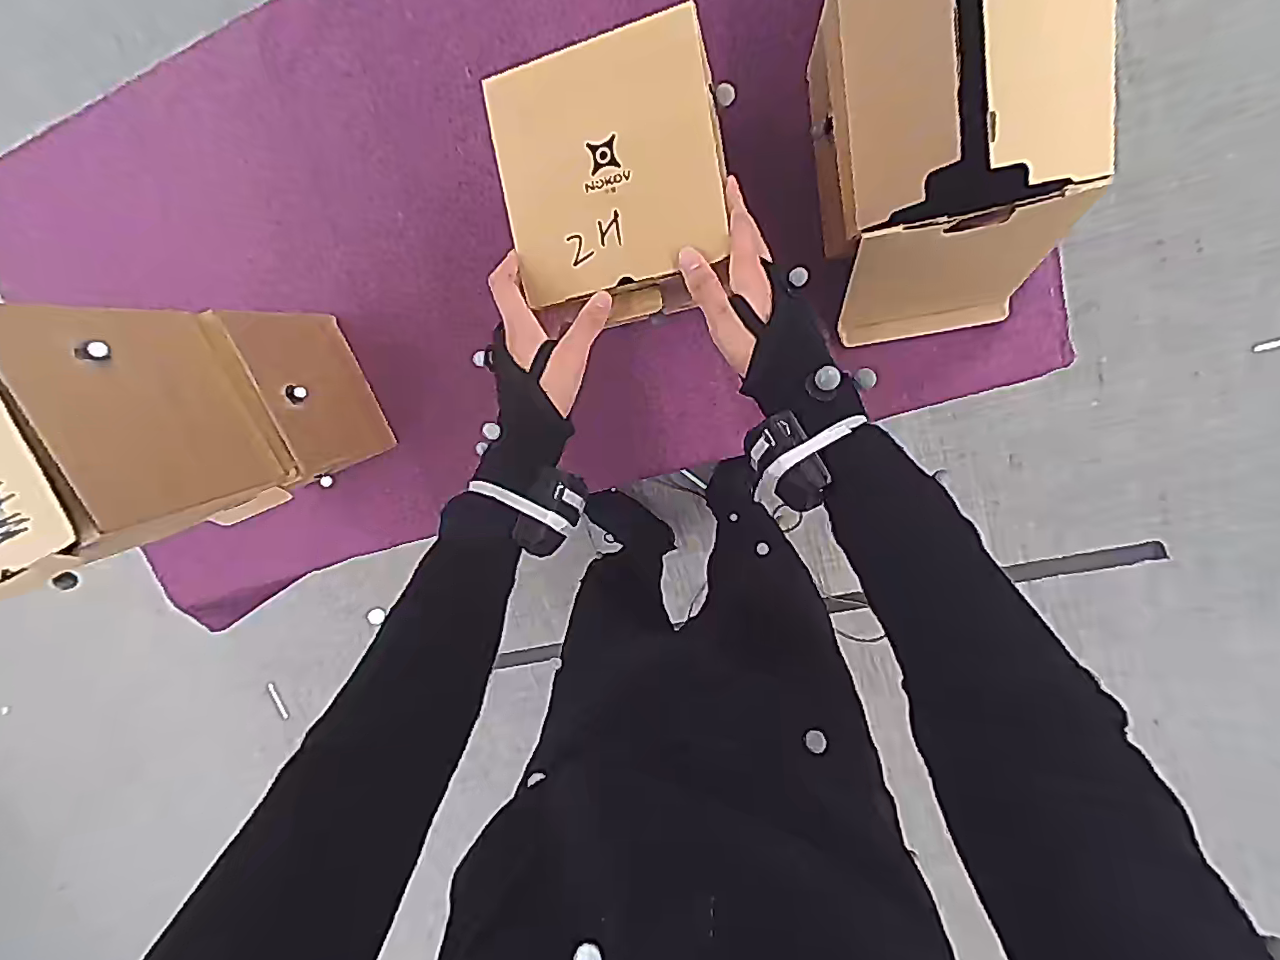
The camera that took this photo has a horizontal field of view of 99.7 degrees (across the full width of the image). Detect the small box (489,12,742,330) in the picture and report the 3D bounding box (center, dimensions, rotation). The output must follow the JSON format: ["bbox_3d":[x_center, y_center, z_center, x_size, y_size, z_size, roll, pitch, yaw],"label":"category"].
[{"bbox_3d":[-0.006,-0.242,0.479,0.168,0.176,0.179,-8,98,16],"label":"small box"}]

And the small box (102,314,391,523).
[{"bbox_3d":[-0.424,-0.077,0.617,0.168,0.176,0.179,-19,101,14],"label":"small box"}]
